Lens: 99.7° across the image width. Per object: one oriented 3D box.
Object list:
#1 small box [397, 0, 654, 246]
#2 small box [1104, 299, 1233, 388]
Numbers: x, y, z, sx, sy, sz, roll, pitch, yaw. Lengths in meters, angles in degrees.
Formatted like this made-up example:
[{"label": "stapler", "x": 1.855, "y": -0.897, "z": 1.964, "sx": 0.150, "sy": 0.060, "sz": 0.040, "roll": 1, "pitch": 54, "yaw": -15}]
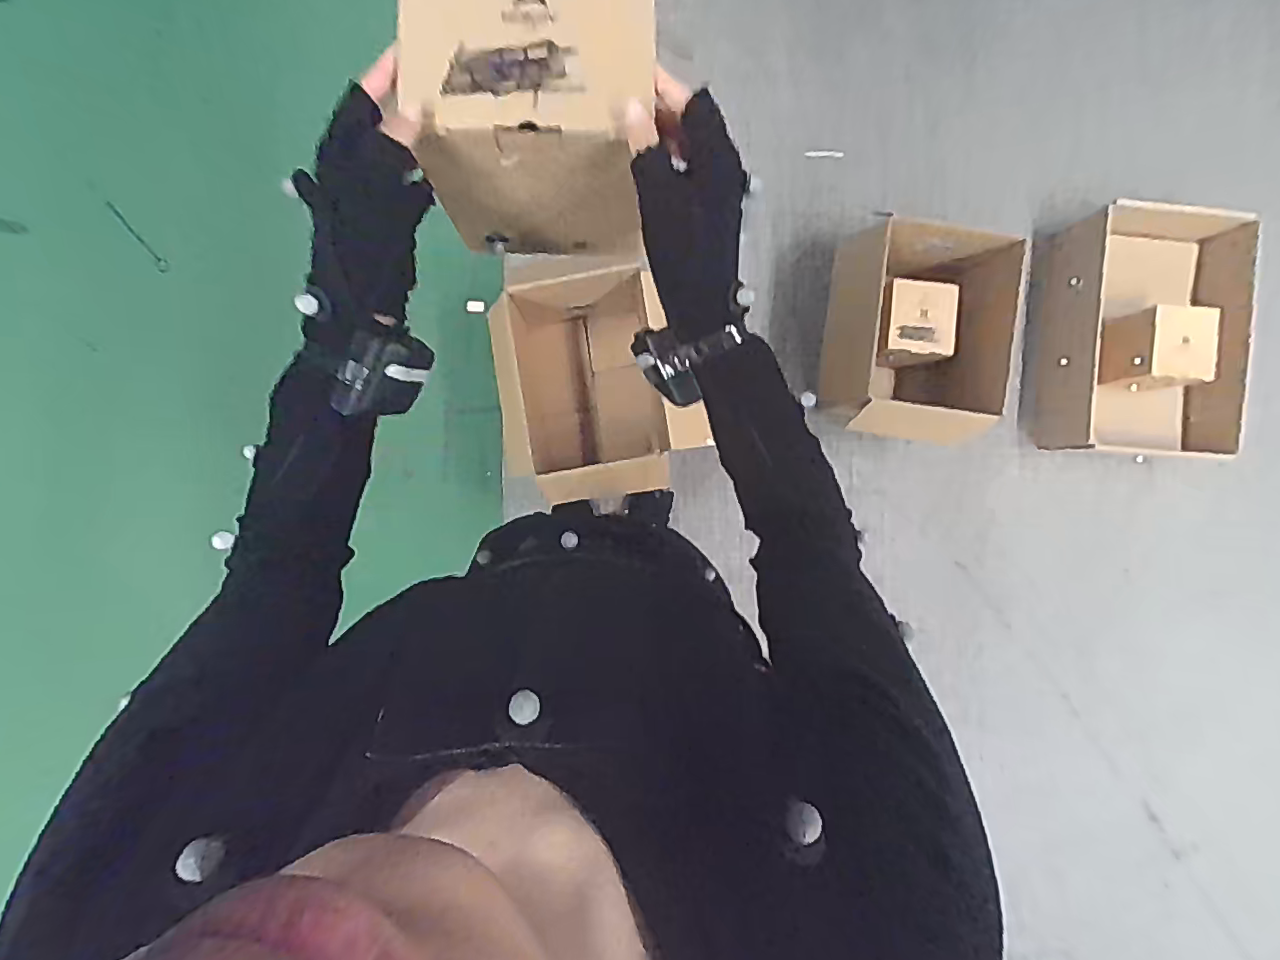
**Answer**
[{"label": "small box", "x": -0.072, "y": -0.304, "z": 0.426, "sx": 0.168, "sy": 0.176, "sz": 0.179, "roll": 0, "pitch": 86, "yaw": -1}, {"label": "small box", "x": 1.331, "y": -0.340, "z": 1.372, "sx": 0.168, "sy": 0.176, "sz": 0.179, "roll": 4, "pitch": 91, "yaw": -2}]
